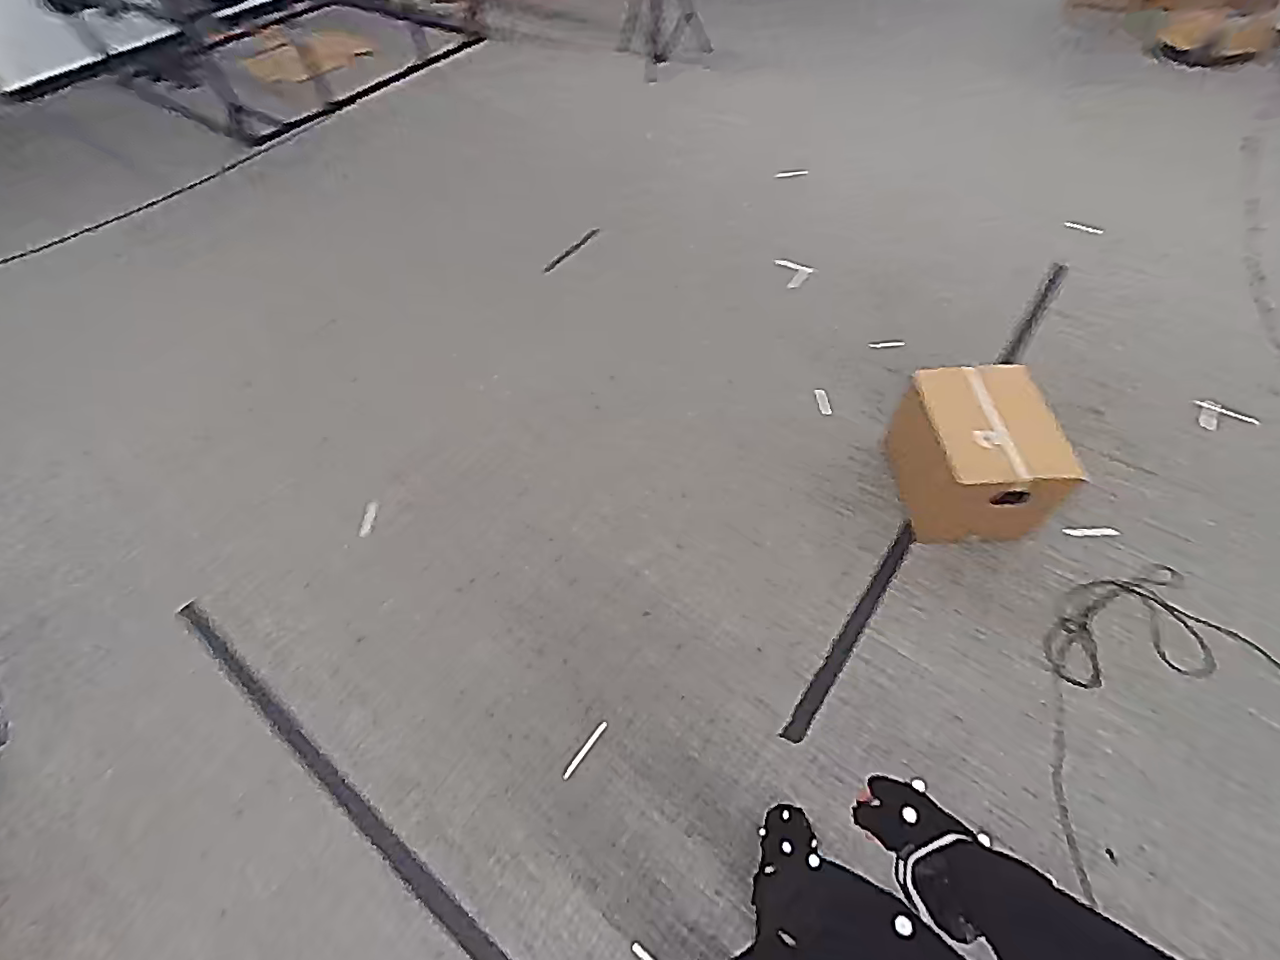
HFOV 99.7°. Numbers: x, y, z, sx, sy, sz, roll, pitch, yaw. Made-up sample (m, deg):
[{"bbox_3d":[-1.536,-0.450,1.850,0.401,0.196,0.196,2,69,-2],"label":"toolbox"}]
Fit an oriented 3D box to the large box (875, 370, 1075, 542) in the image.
[{"bbox_3d":[0.939,-0.069,1.588,0.320,0.320,0.408,-3,56,2],"label":"large box"}]
